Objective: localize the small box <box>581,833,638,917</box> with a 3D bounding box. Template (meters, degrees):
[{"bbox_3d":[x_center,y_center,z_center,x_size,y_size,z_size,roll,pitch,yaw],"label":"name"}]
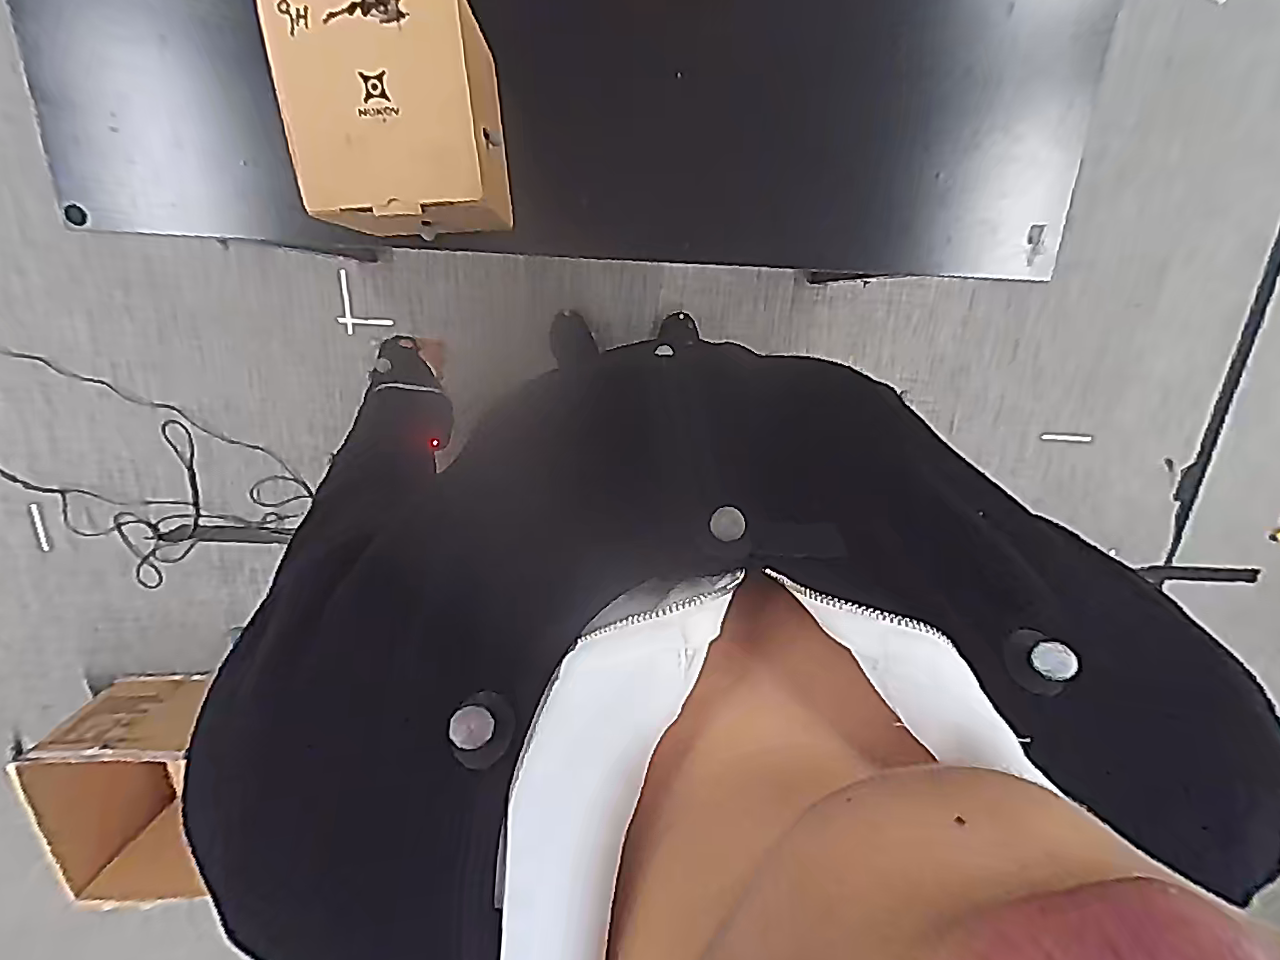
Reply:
[{"bbox_3d":[-0.102,1.332,1.828,0.179,0.176,0.168,4,105,-3],"label":"small box"}]

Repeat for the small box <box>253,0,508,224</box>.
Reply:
[{"bbox_3d":[-0.237,-0.362,0.545,0.168,0.176,0.179,-5,109,-2],"label":"small box"}]
